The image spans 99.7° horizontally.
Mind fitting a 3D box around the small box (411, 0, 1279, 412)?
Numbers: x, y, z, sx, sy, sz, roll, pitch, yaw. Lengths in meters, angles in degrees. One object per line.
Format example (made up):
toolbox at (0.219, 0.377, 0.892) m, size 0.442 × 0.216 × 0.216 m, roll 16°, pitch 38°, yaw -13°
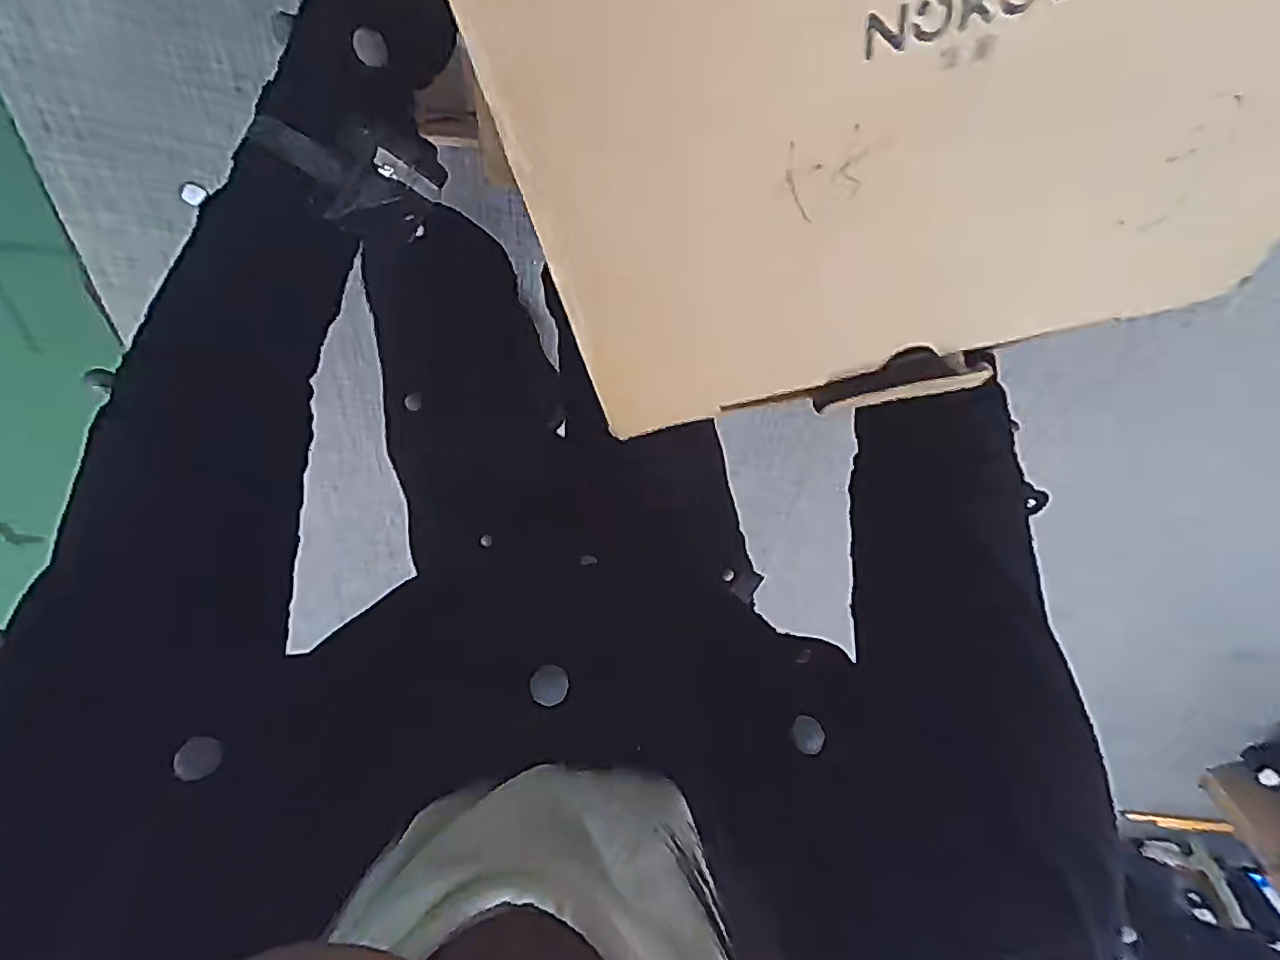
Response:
small box at (0.035, -0.150, 0.150) m, size 0.168 × 0.176 × 0.179 m, roll -12°, pitch 137°, yaw 5°
